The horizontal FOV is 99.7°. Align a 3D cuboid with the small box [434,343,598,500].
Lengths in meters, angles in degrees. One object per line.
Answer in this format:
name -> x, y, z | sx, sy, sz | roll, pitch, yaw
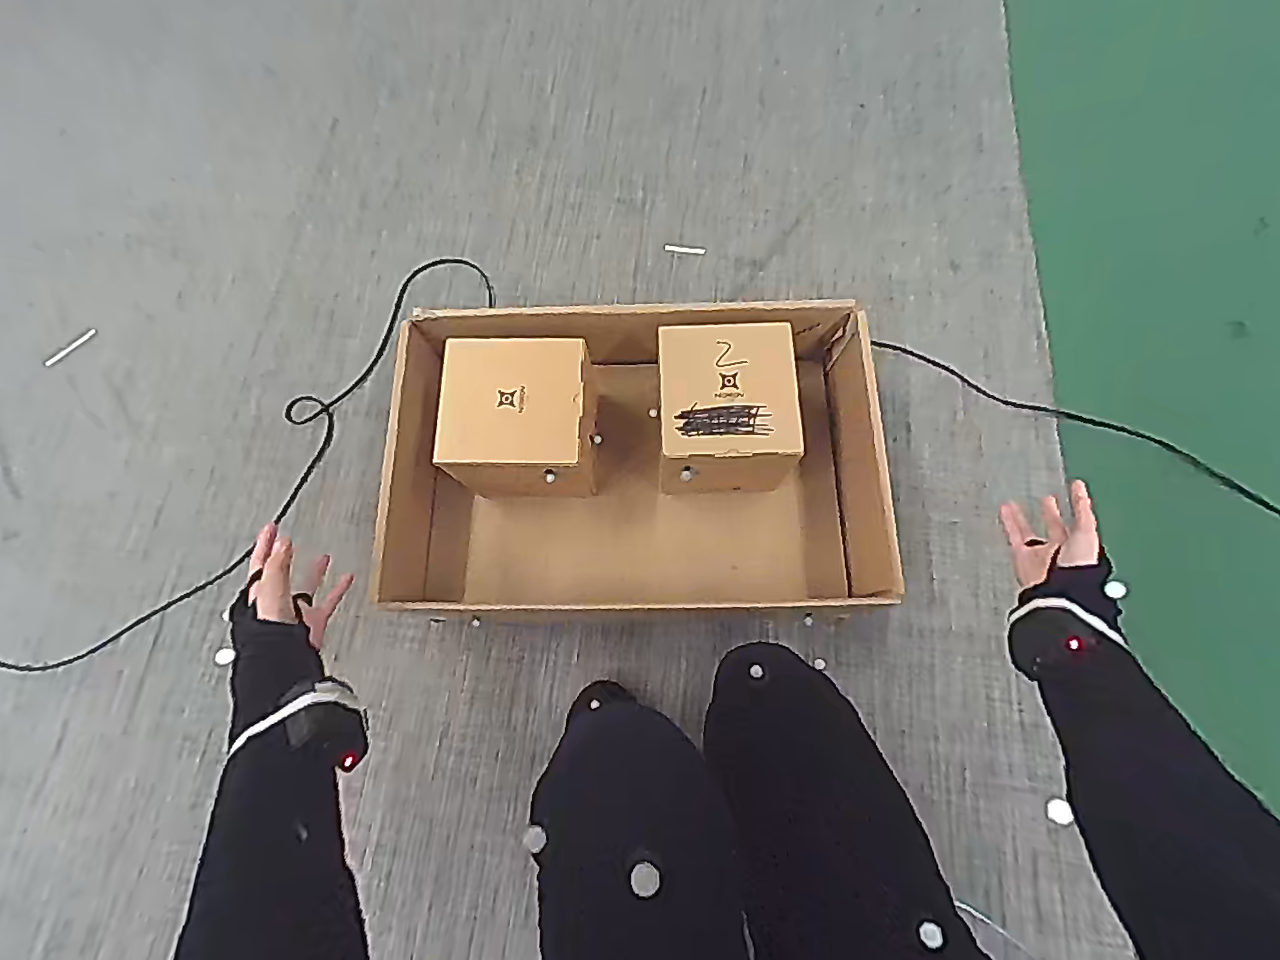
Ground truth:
small box -> -0.155, -0.070, 0.734 | 0.179, 0.176, 0.168 | 0, 75, 1
